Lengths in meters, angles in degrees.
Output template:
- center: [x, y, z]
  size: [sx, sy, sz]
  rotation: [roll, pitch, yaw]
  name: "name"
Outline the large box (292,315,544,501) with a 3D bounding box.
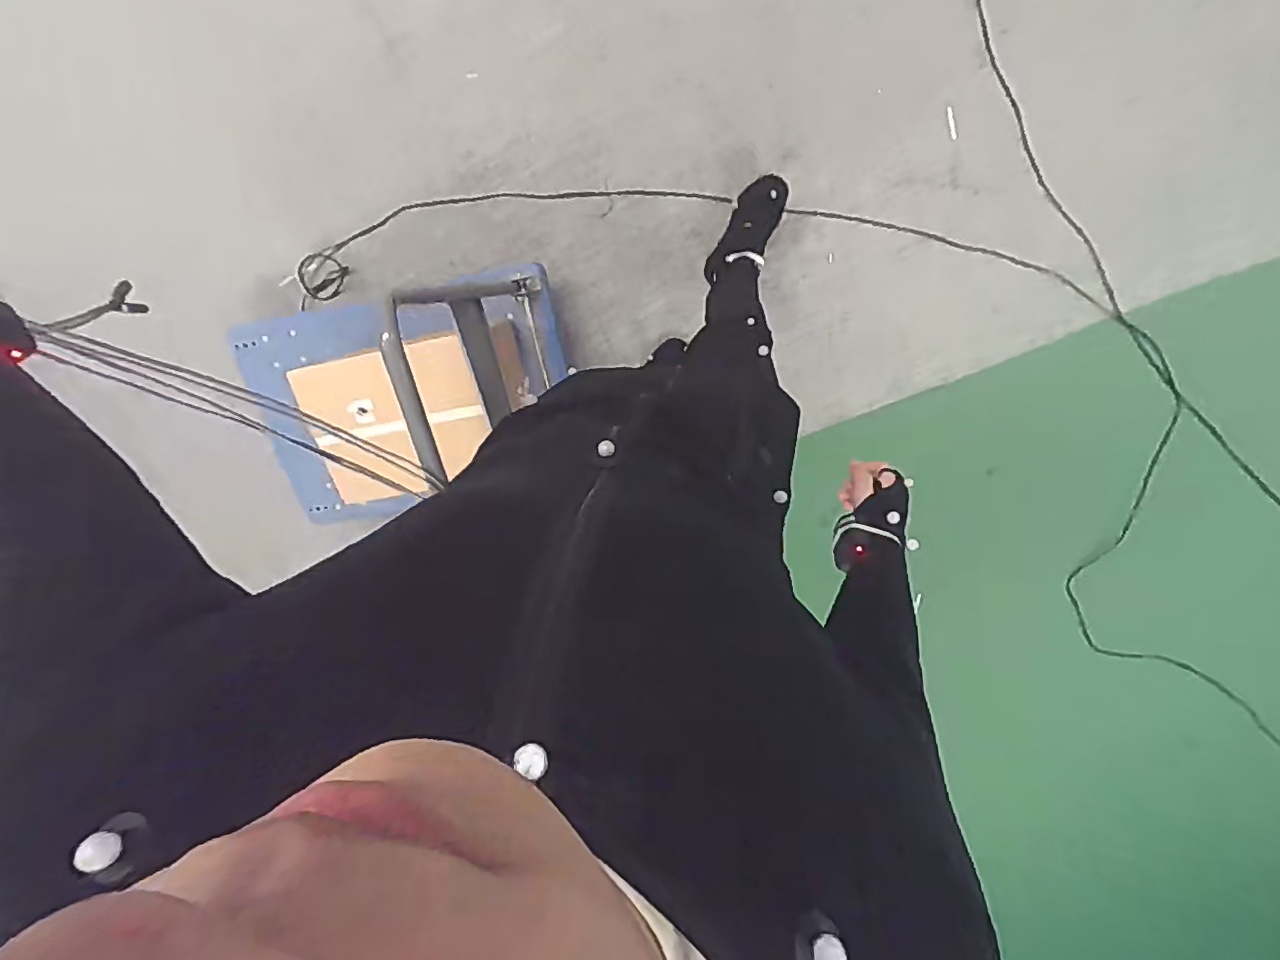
- center: [-0.490, -0.182, 1.282]
  size: [0.408, 0.320, 0.320]
  rotation: [-9, 111, 9]
  name: "large box"
